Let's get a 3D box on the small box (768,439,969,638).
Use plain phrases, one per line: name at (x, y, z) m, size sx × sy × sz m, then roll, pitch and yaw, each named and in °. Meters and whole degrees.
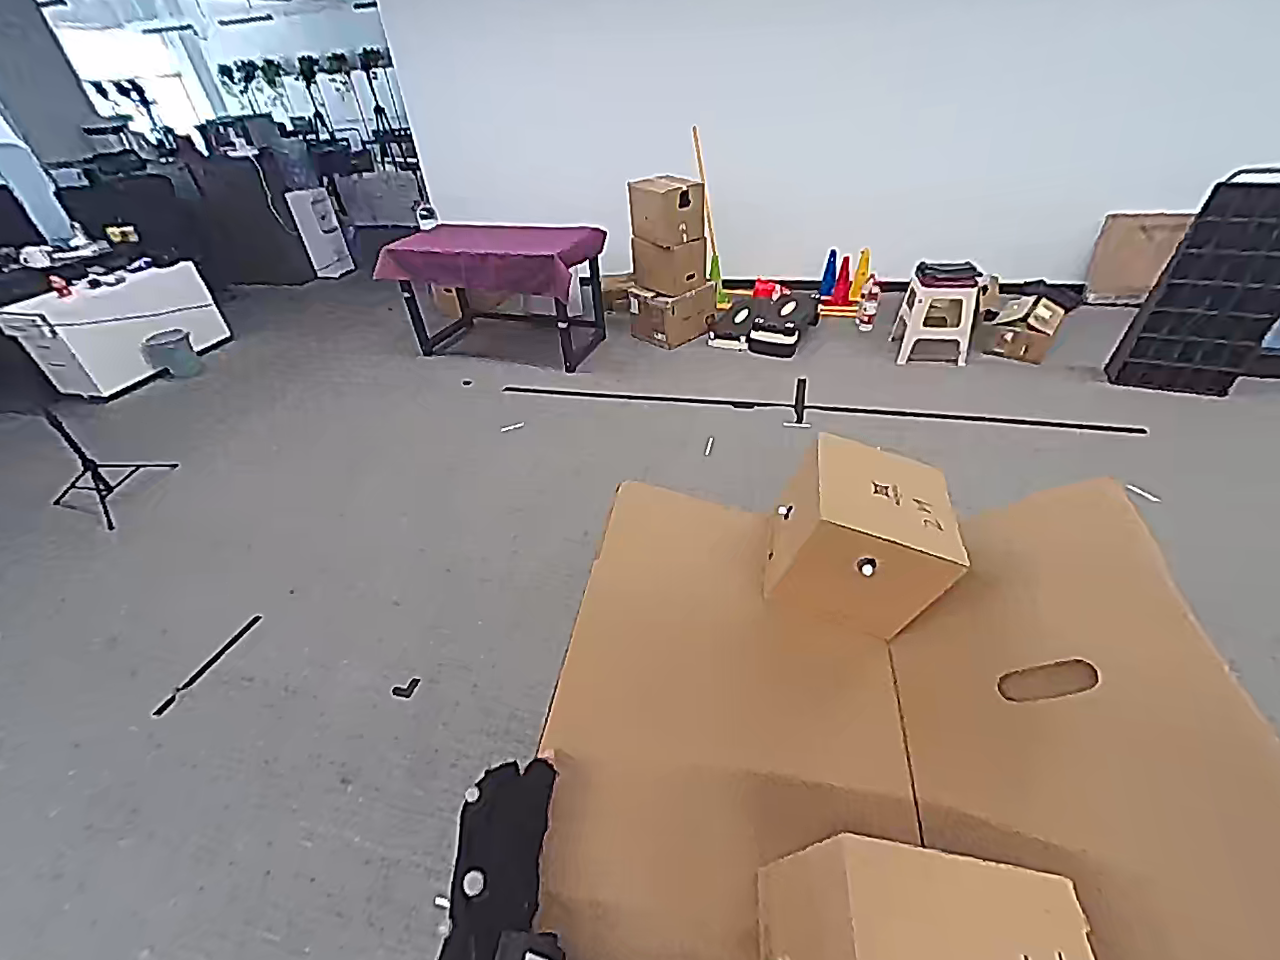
small box at (0.280, 0.079, 0.705) m, size 0.179 × 0.176 × 0.168 m, roll 19°, pitch 45°, yaw 1°
